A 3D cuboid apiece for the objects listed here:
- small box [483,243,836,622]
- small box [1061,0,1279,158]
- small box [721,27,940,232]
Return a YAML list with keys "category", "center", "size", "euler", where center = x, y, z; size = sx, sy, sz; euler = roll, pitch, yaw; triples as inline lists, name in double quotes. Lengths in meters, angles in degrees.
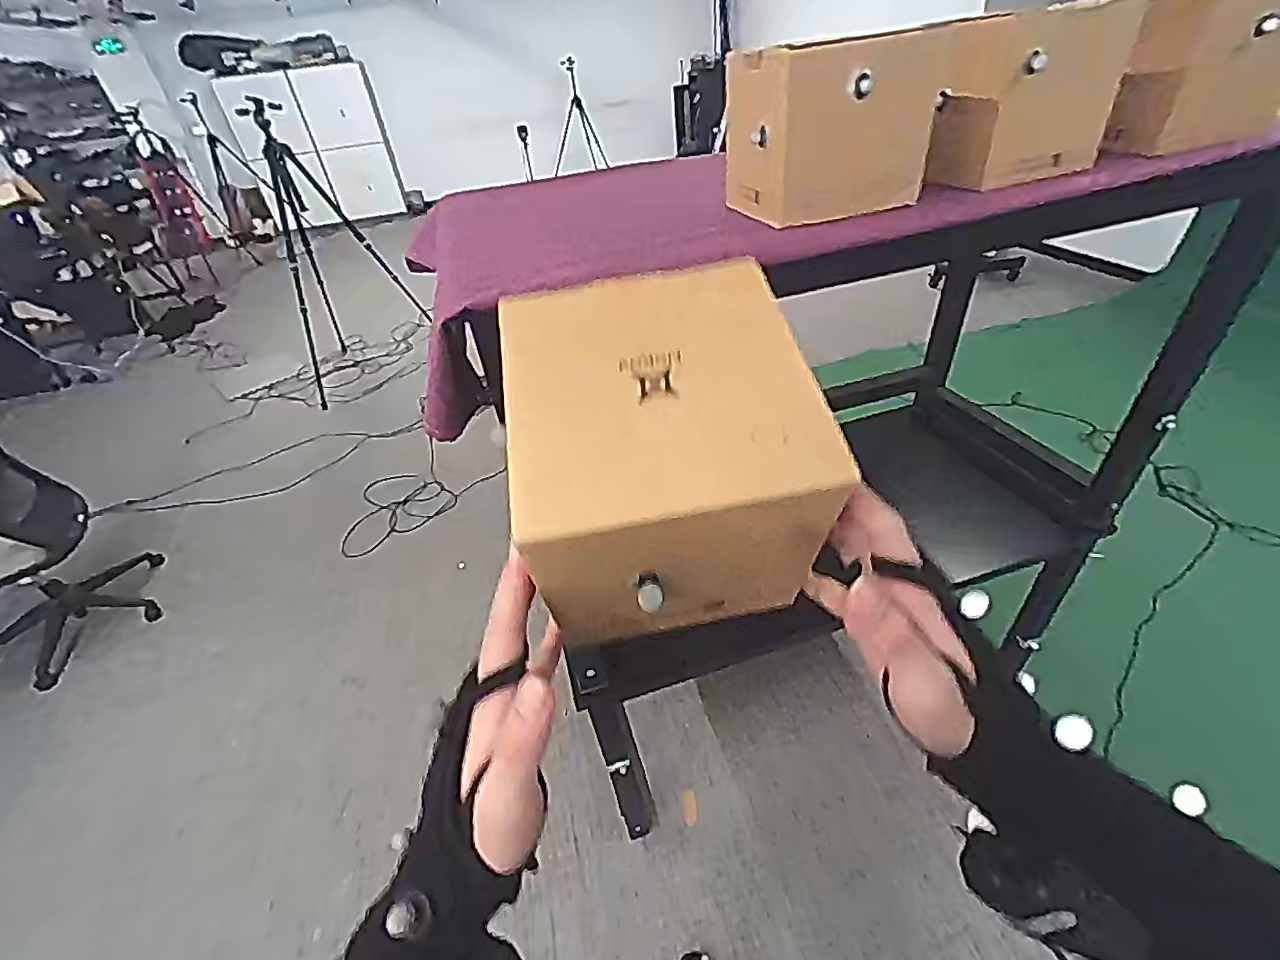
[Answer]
- category: "small box"
  center: [0.005, -0.019, 0.358]
  size: [0.168, 0.176, 0.179]
  euler: [-11, 56, -3]
- category: "small box"
  center: [0.707, -0.540, 0.714]
  size: [0.179, 0.176, 0.168]
  euler: [-13, 39, -5]
- category: "small box"
  center: [0.205, -0.402, 0.631]
  size: [0.179, 0.176, 0.168]
  euler: [-12, 38, -7]
